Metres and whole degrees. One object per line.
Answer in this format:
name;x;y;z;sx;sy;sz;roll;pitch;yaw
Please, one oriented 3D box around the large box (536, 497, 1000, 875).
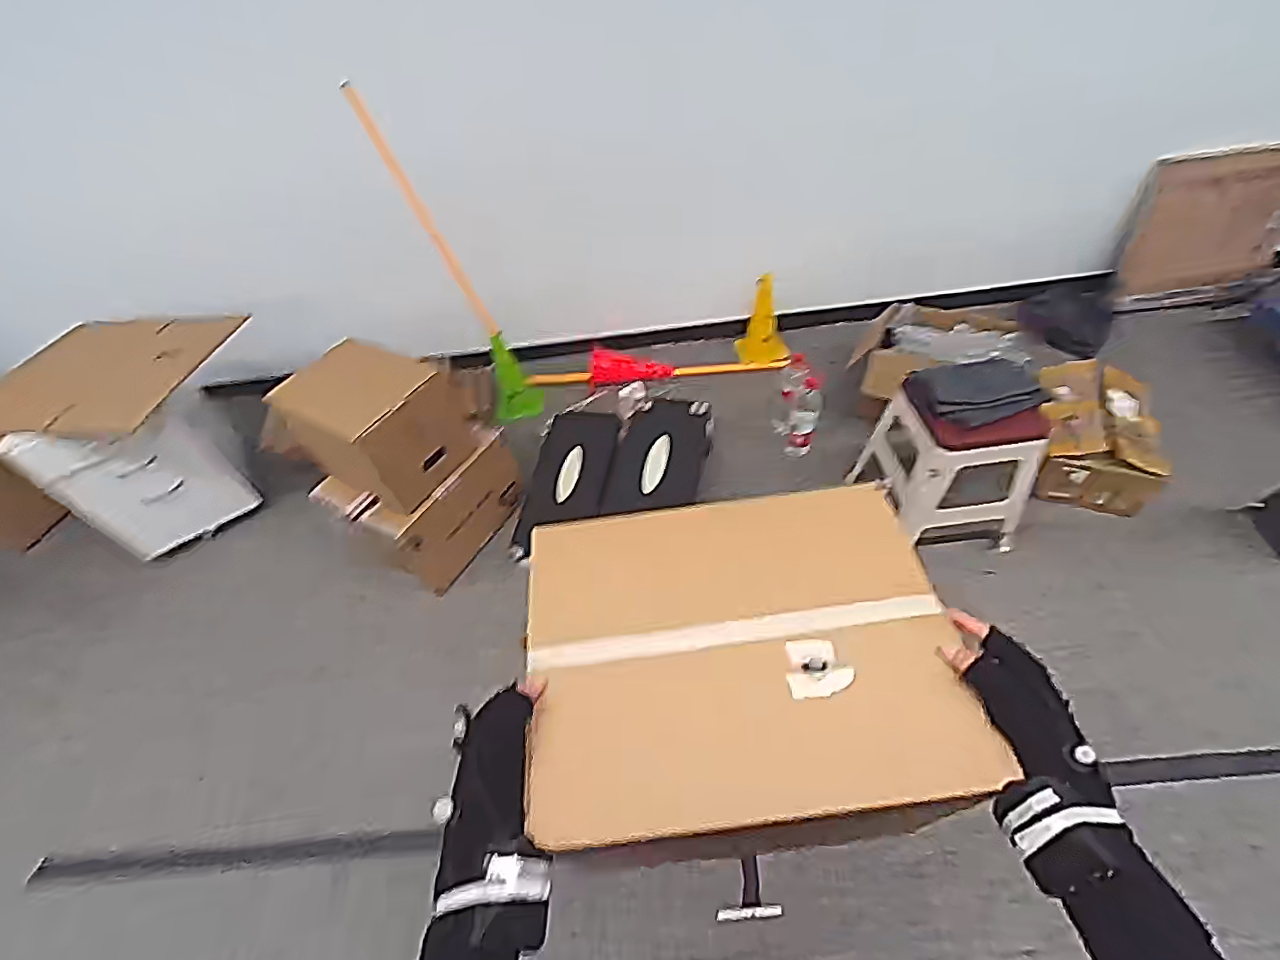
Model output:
large box;0.104;0.258;0.660;0.408;0.320;0.320;-8;51;0
